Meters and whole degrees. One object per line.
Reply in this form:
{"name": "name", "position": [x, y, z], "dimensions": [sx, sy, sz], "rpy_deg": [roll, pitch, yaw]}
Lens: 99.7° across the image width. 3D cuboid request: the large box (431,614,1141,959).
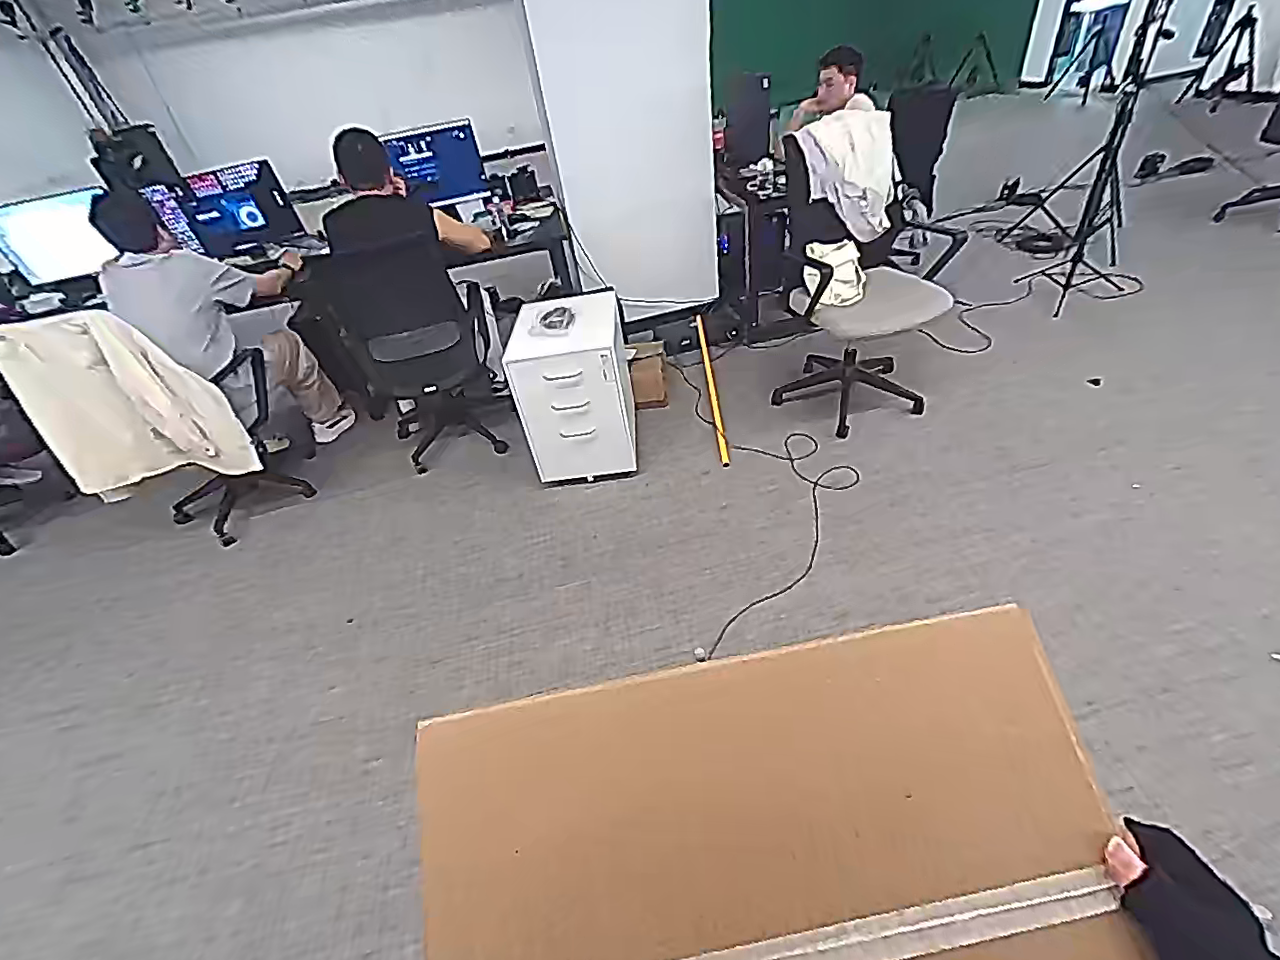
{"name": "large box", "position": [0.091, 0.320, 0.456], "dimensions": [0.408, 0.320, 0.320], "rpy_deg": [-11, 70, -2]}
